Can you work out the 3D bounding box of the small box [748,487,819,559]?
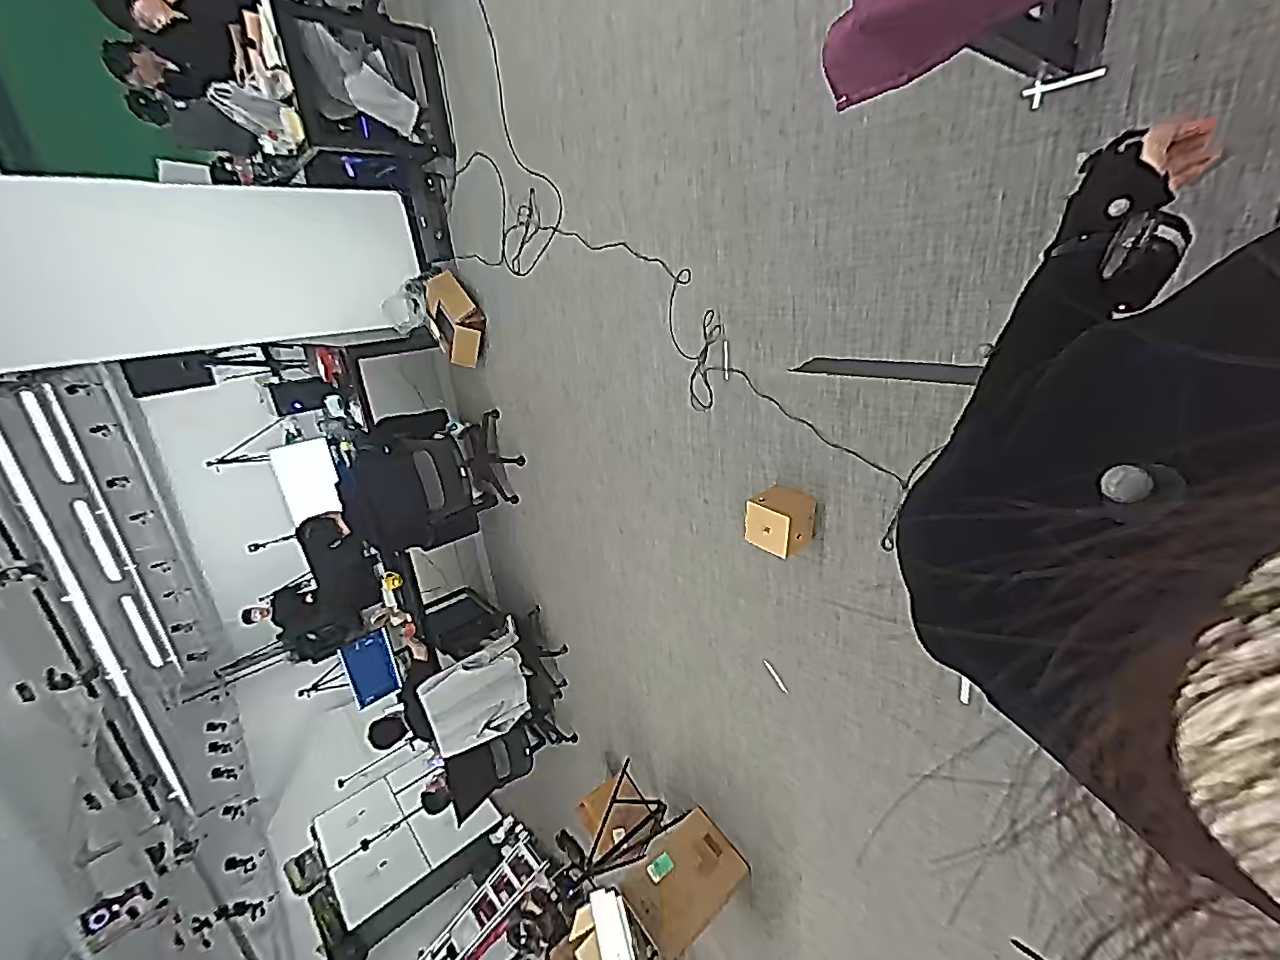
[{"bbox_3d":[0.500,0.142,1.885,0.179,0.176,0.168,25,127,44],"label":"small box"}]
